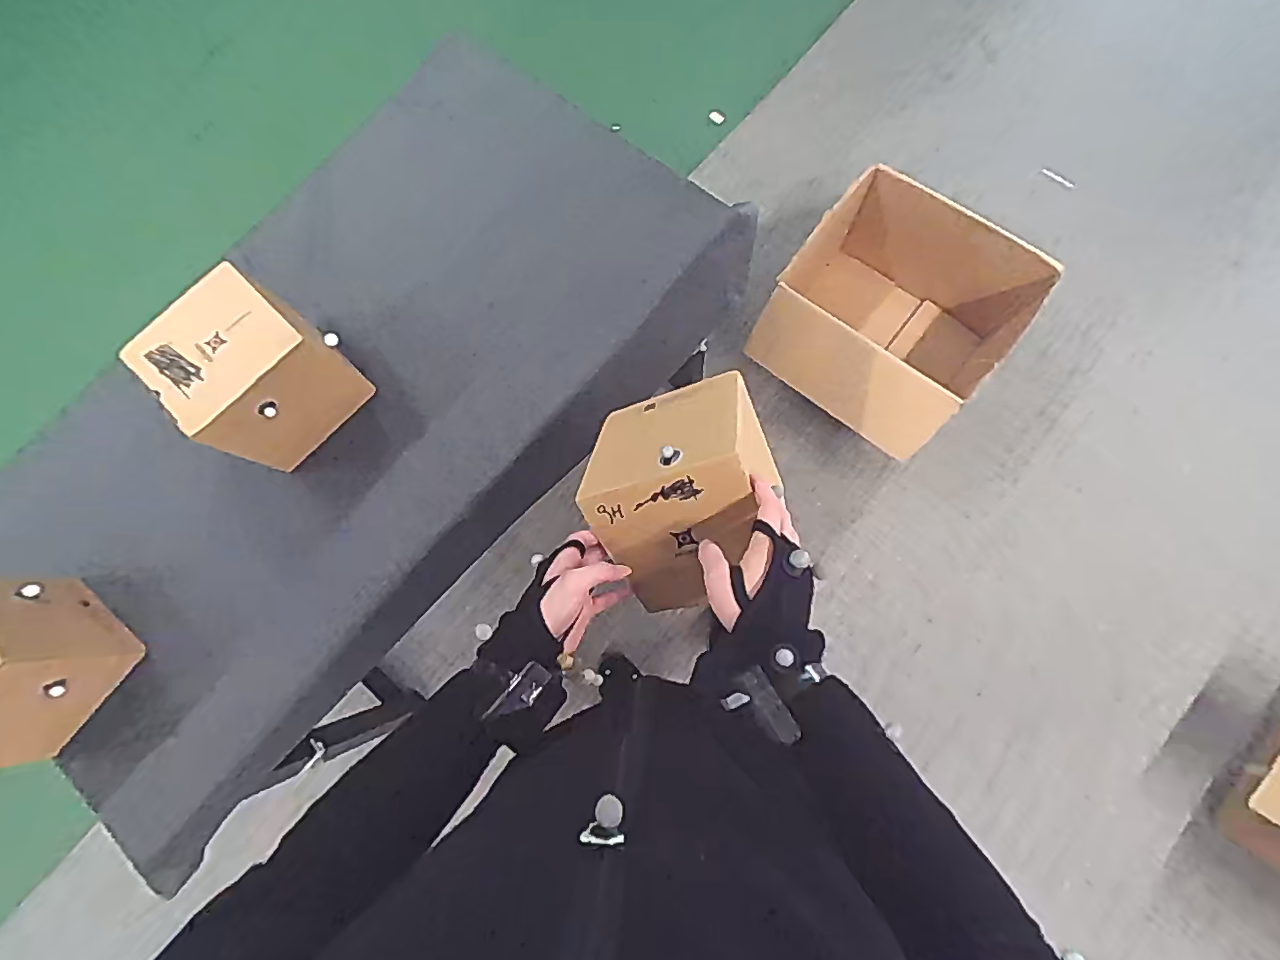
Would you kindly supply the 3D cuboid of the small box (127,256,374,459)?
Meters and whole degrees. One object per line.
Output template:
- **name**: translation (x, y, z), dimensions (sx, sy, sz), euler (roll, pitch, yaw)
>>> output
- **small box**: translation (-0.510, -0.152, 0.734), dimensions (0.179, 0.176, 0.168), euler (-43, 80, -5)

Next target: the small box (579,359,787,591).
- **small box**: translation (0.061, -0.006, 0.612), dimensions (0.168, 0.179, 0.176), euler (-17, 31, 23)

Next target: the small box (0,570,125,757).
- **small box**: translation (-0.797, 0.221, 0.659), dimensions (0.168, 0.176, 0.179), euler (36, 83, 11)
